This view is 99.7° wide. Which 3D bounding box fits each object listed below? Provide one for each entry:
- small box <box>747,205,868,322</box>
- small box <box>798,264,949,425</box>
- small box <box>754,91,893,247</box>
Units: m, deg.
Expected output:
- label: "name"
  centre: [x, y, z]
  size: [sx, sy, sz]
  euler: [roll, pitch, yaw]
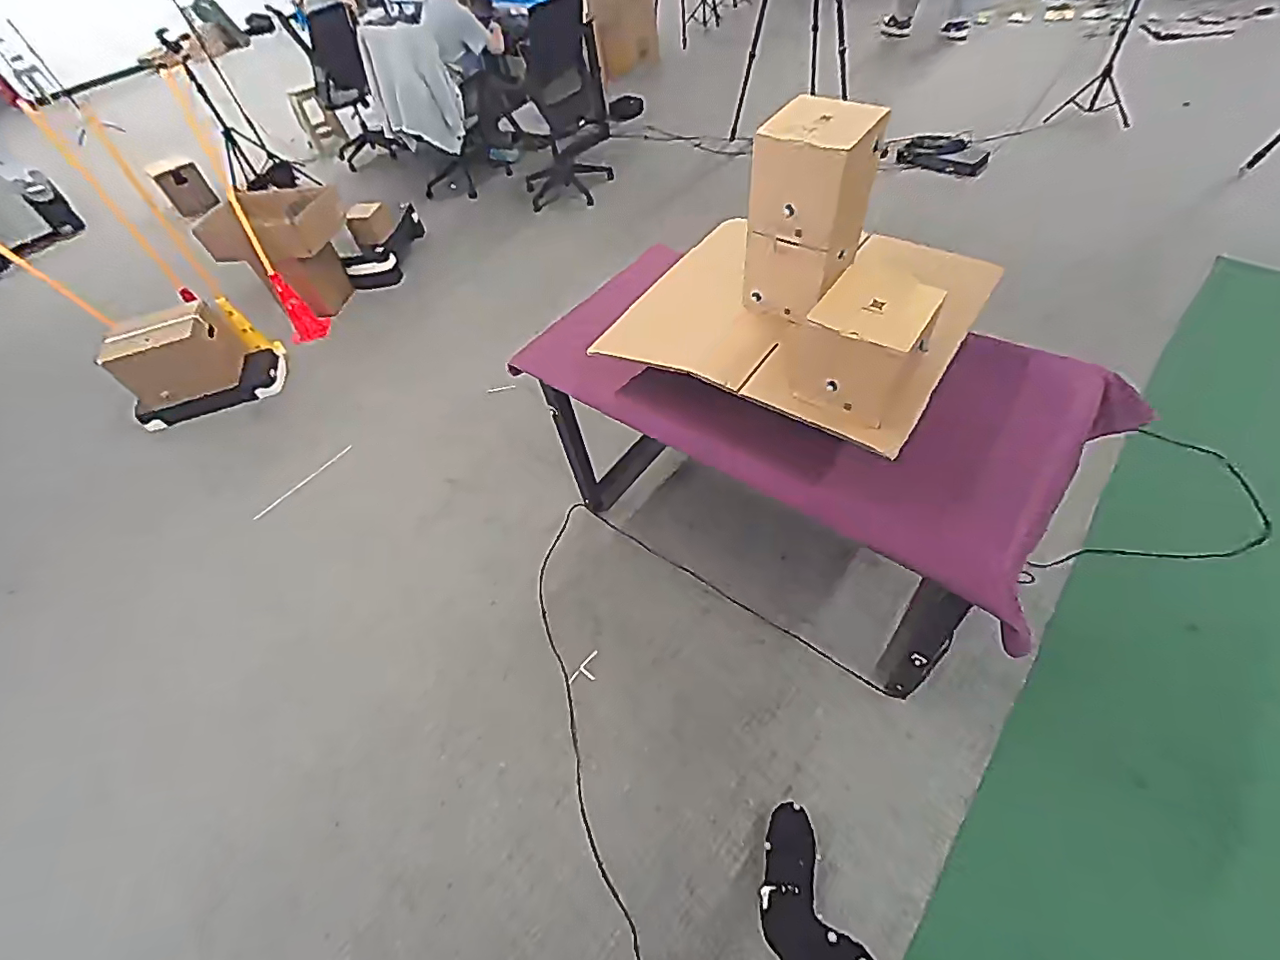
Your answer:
- label: "small box"
  centre: [0.326, -0.447, 1.083]
  size: [0.168, 0.176, 0.179]
  euler: [29, 61, 24]
- label: "small box"
  centre: [0.384, -0.229, 0.919]
  size: [0.168, 0.176, 0.179]
  euler: [28, 63, 25]
- label: "small box"
  centre: [0.312, -0.546, 0.953]
  size: [0.168, 0.176, 0.179]
  euler: [28, 63, 24]
